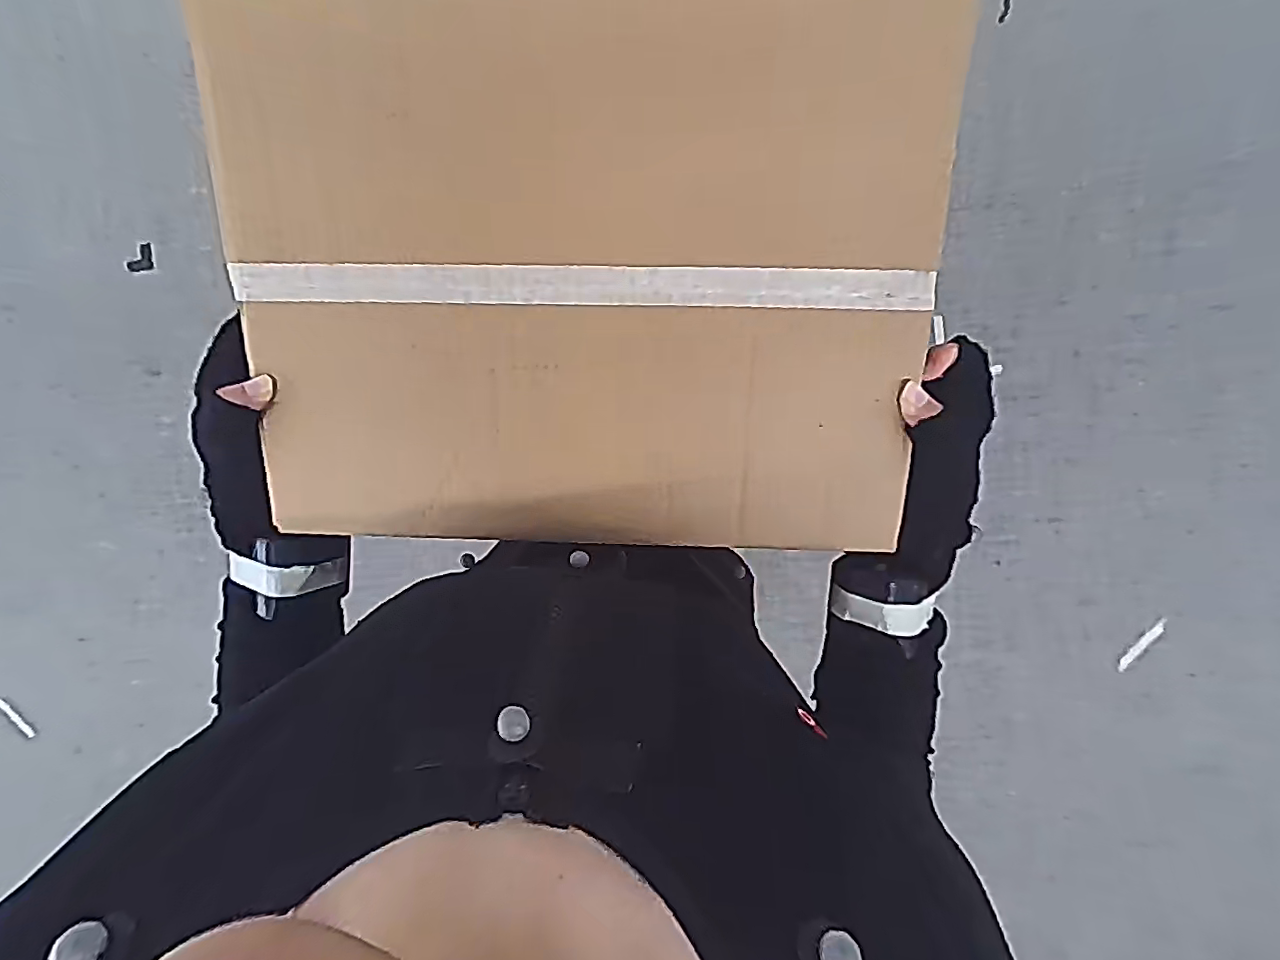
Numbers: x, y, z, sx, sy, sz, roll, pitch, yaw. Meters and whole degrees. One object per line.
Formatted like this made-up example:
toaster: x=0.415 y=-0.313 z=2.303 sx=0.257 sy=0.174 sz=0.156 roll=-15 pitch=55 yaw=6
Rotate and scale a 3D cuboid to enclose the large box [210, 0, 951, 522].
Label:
large box: x=-0.033 y=-0.159 z=0.466 sx=0.408 sy=0.320 sz=0.320 roll=1 pitch=106 yaw=1
